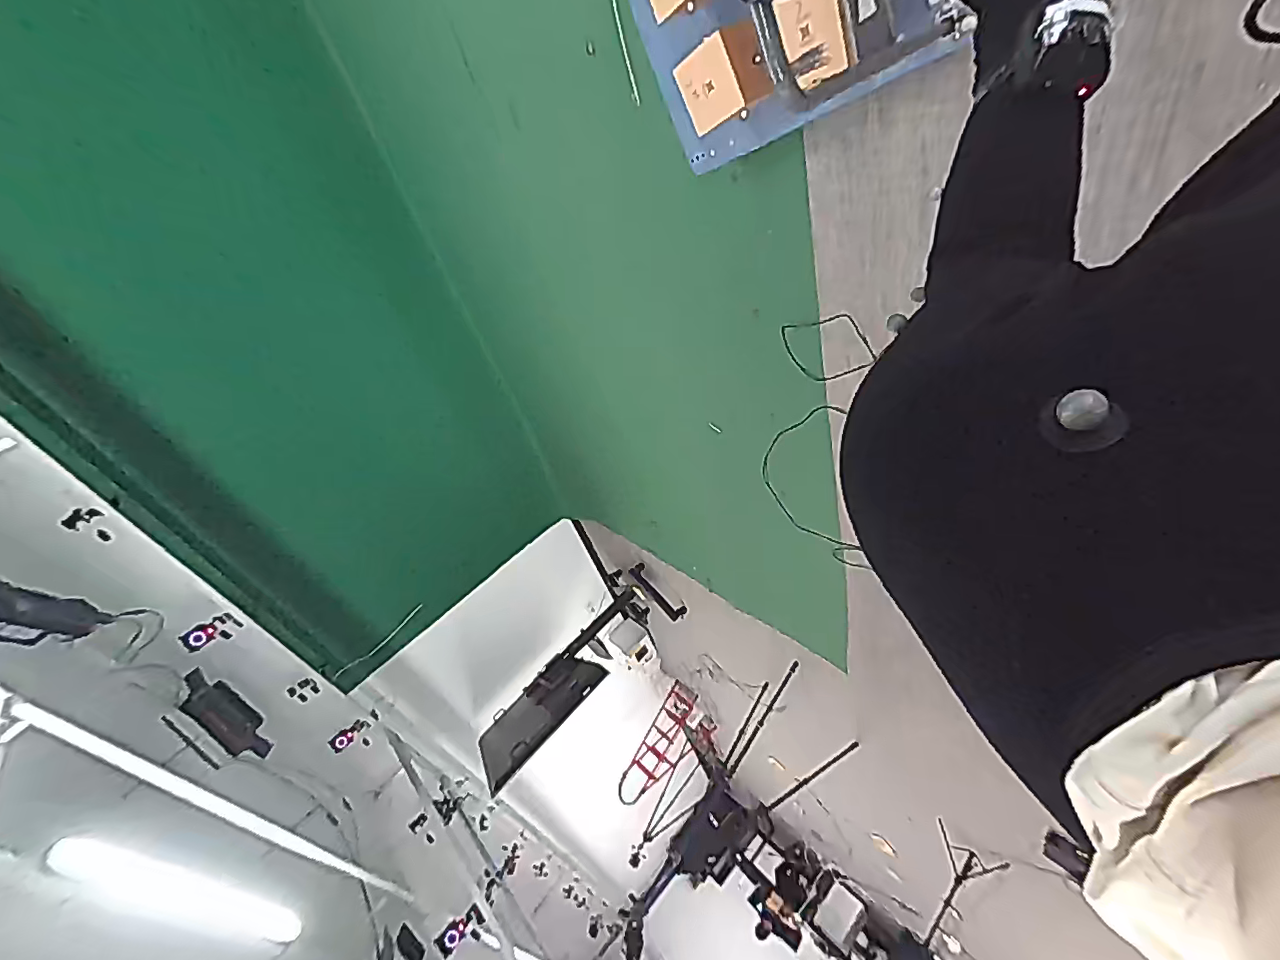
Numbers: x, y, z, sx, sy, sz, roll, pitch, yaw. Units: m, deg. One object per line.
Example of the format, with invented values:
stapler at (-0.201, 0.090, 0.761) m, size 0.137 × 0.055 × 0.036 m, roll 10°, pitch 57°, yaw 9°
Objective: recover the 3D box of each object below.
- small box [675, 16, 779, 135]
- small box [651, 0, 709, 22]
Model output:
small box at (0.228, -1.021, 1.367) m, size 0.179 × 0.176 × 0.168 m, roll 8°, pitch 133°, yaw 56°
small box at (0.118, -1.223, 1.255) m, size 0.179 × 0.176 × 0.168 m, roll 9°, pitch 136°, yaw 54°
